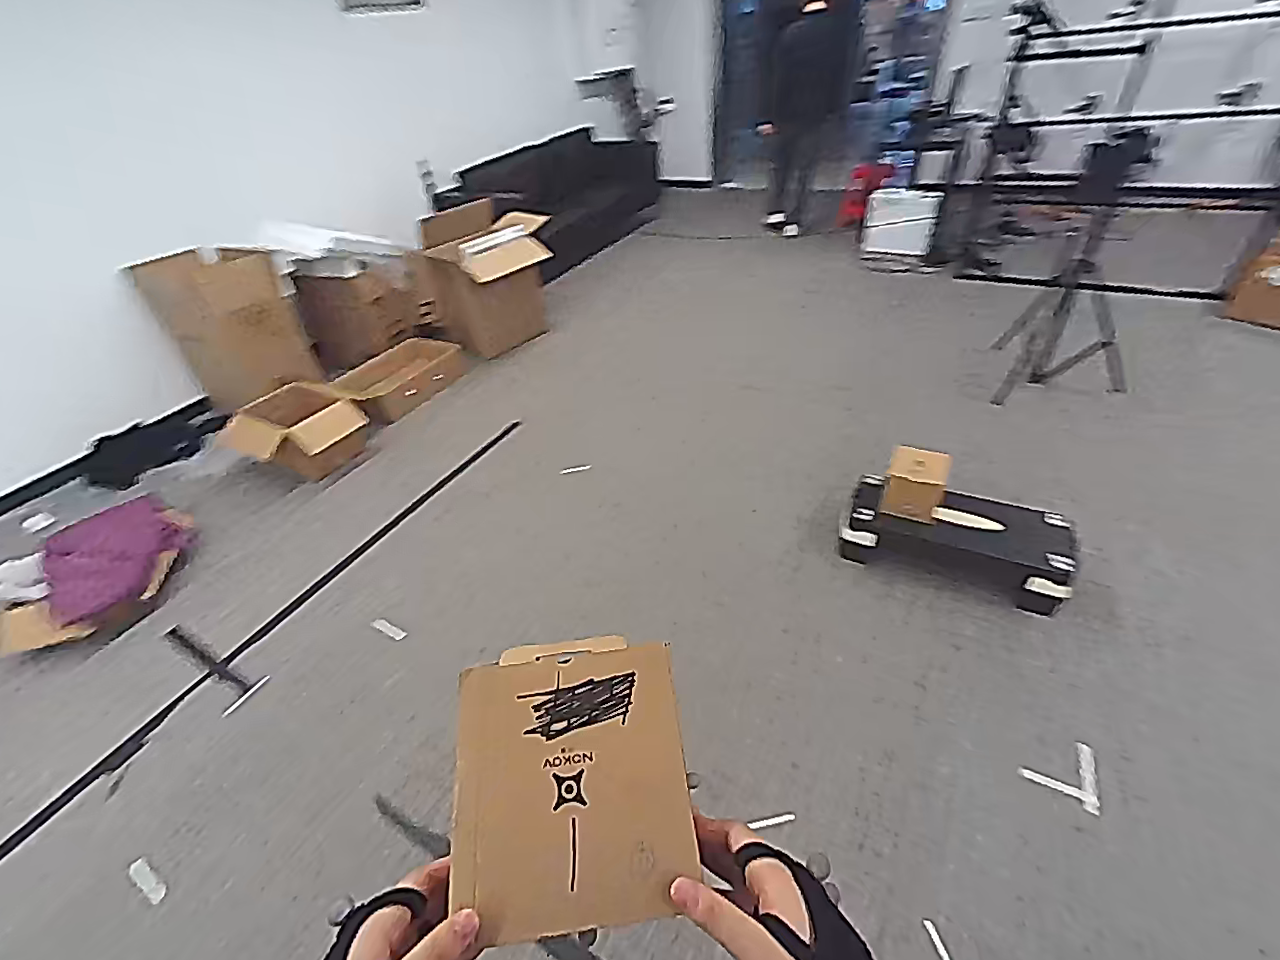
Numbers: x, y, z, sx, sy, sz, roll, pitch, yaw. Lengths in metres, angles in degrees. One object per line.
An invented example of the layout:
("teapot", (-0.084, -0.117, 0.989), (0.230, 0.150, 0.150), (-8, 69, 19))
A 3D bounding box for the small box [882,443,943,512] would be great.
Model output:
("small box", (0.901, 0.004, 1.820), (0.168, 0.176, 0.179), (14, 44, 24))

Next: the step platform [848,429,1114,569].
("step platform", (1.021, 0.044, 1.699), (0.684, 0.204, 0.286), (15, 44, 23))

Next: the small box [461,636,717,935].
("small box", (-0.039, 0.251, 0.453), (0.168, 0.176, 0.179), (-6, 56, -3))
